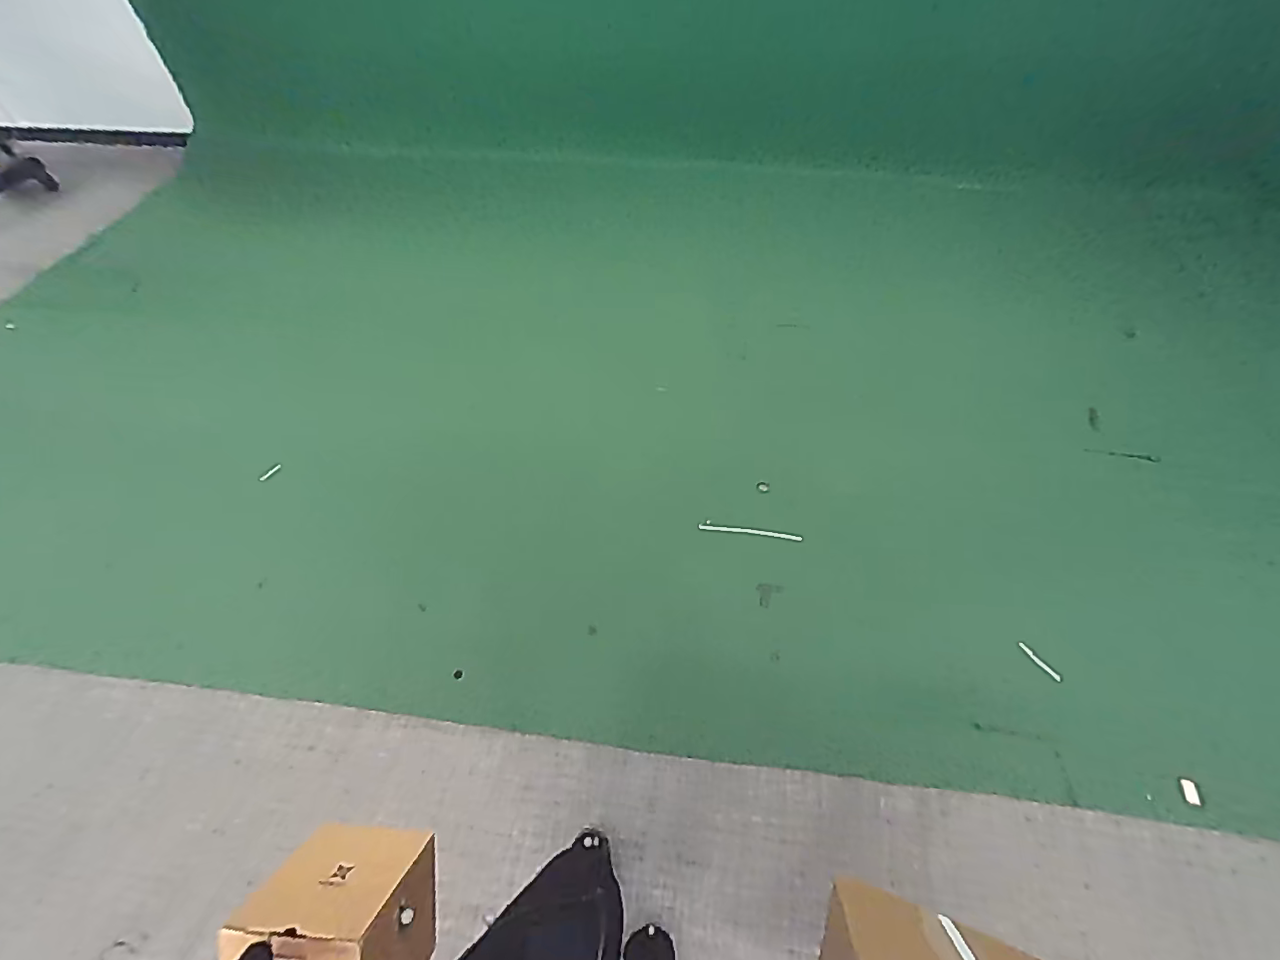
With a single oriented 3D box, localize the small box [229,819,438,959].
[{"bbox_3d":[-0.373,0.570,0.680,0.168,0.179,0.176,0,94,6],"label":"small box"}]
